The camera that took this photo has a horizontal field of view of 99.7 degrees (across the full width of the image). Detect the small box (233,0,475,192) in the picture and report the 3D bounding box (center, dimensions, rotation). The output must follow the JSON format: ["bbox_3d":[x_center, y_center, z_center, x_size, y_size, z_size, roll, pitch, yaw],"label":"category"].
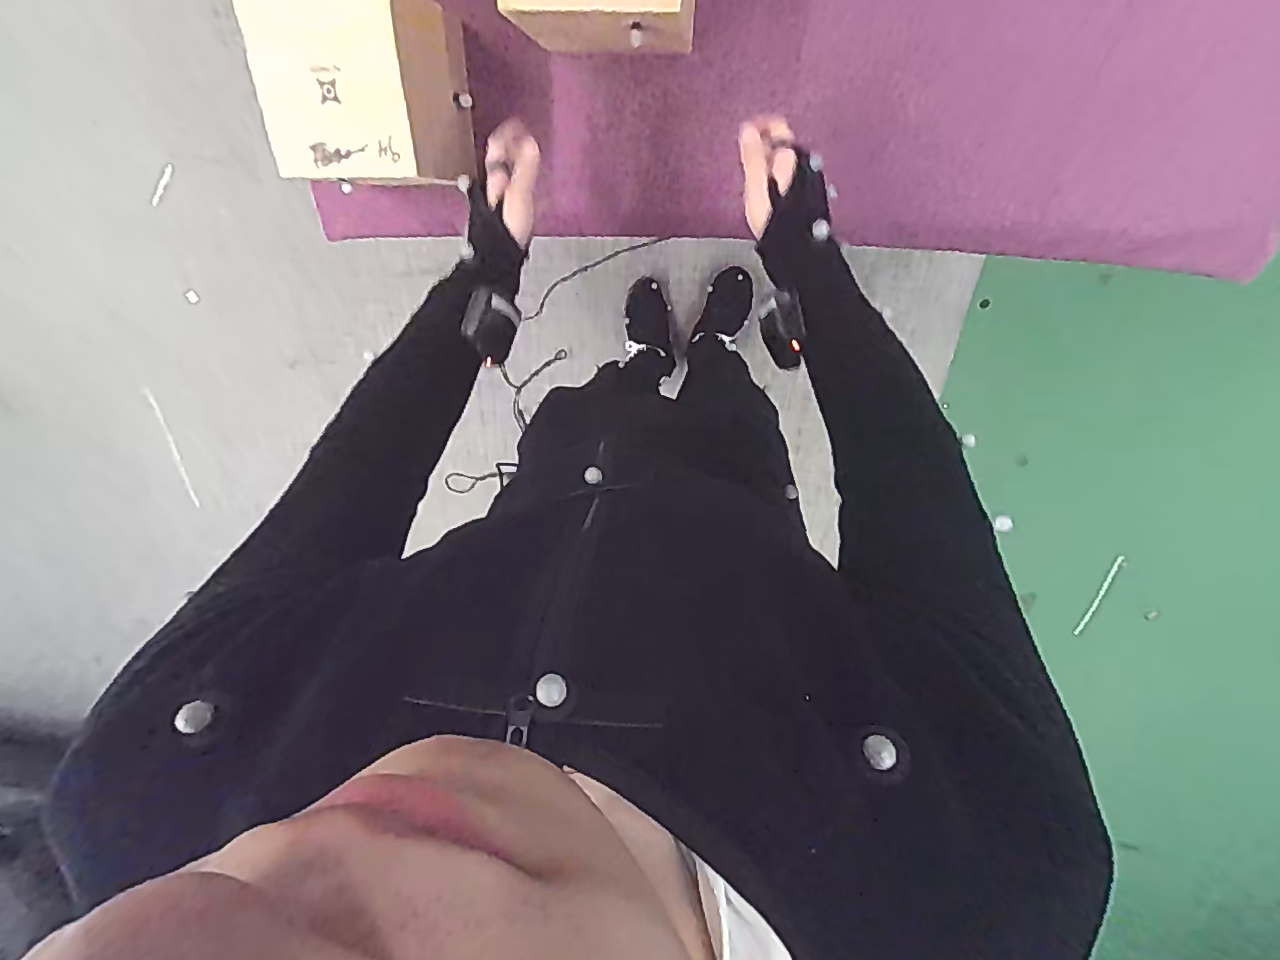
[{"bbox_3d":[-0.306,-0.435,0.619,0.168,0.176,0.179,5,117,7],"label":"small box"}]
